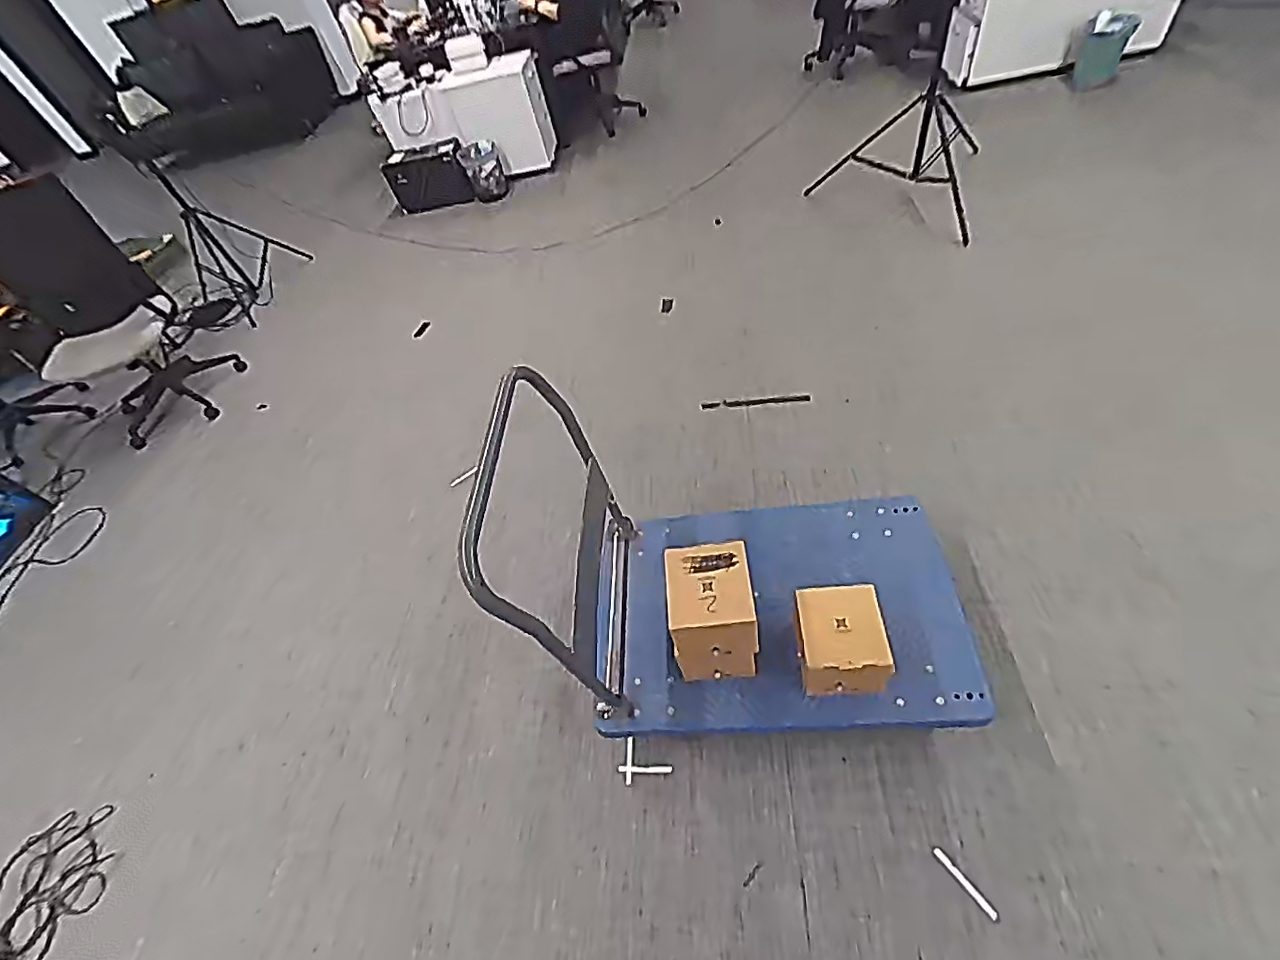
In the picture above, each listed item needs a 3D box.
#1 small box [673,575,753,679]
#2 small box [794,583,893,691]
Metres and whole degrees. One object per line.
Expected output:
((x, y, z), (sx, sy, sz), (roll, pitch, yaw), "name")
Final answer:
((0.168, 0.342, 1.251), (0.168, 0.176, 0.179), (-7, 51, 9), "small box")
((0.433, 0.346, 1.182), (0.168, 0.176, 0.179), (-6, 52, 10), "small box")
